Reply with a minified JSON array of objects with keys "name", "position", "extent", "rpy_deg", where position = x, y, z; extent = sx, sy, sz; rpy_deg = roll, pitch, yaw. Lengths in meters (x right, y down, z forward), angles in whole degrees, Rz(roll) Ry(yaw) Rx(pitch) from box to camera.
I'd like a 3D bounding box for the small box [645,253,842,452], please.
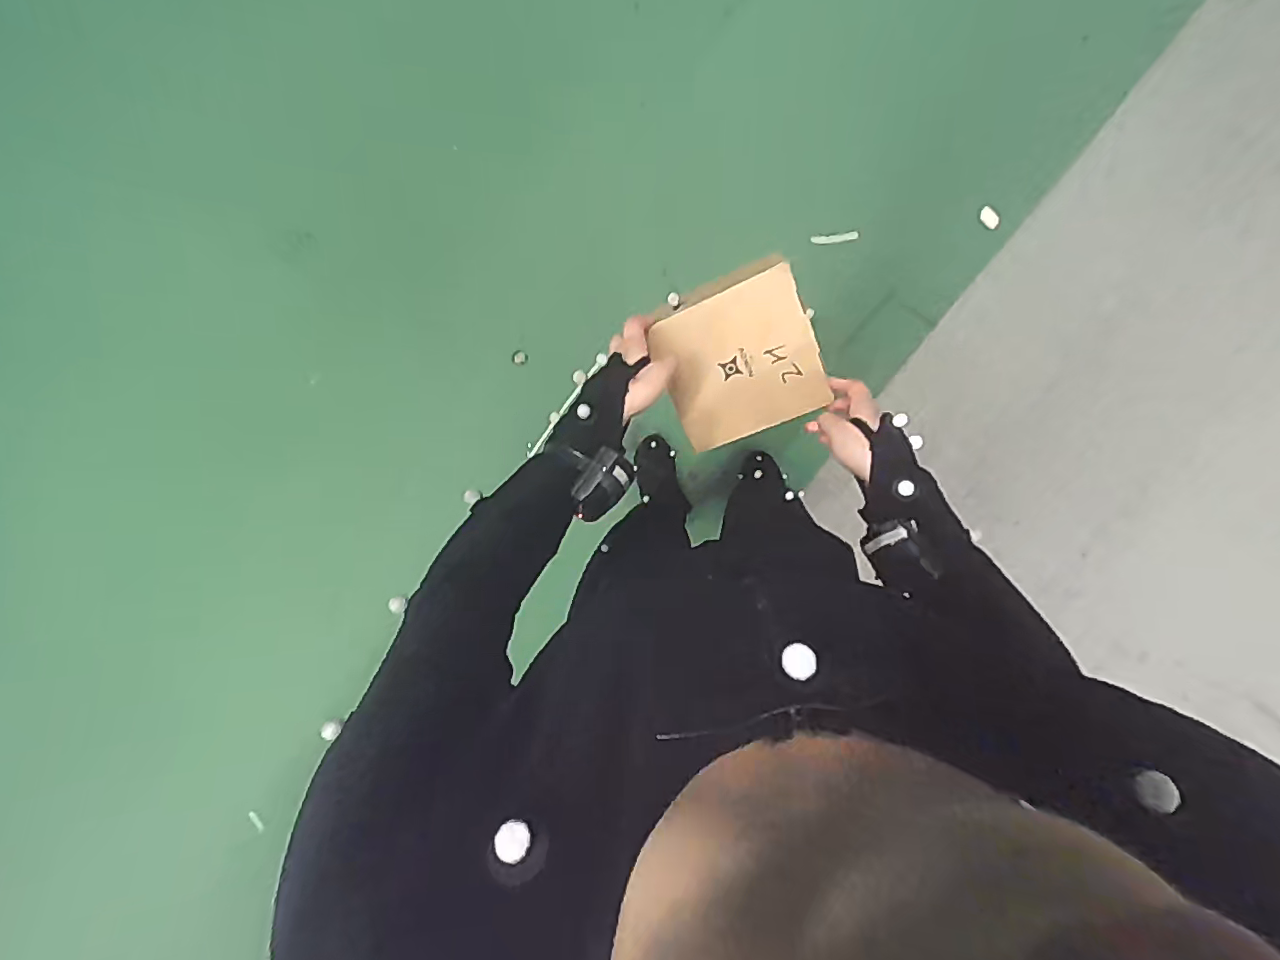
[{"name":"small box","position":[0.126,-0.162,0.670],"extent":[0.179,0.176,0.168],"rpy_deg":[-22,111,17]}]
